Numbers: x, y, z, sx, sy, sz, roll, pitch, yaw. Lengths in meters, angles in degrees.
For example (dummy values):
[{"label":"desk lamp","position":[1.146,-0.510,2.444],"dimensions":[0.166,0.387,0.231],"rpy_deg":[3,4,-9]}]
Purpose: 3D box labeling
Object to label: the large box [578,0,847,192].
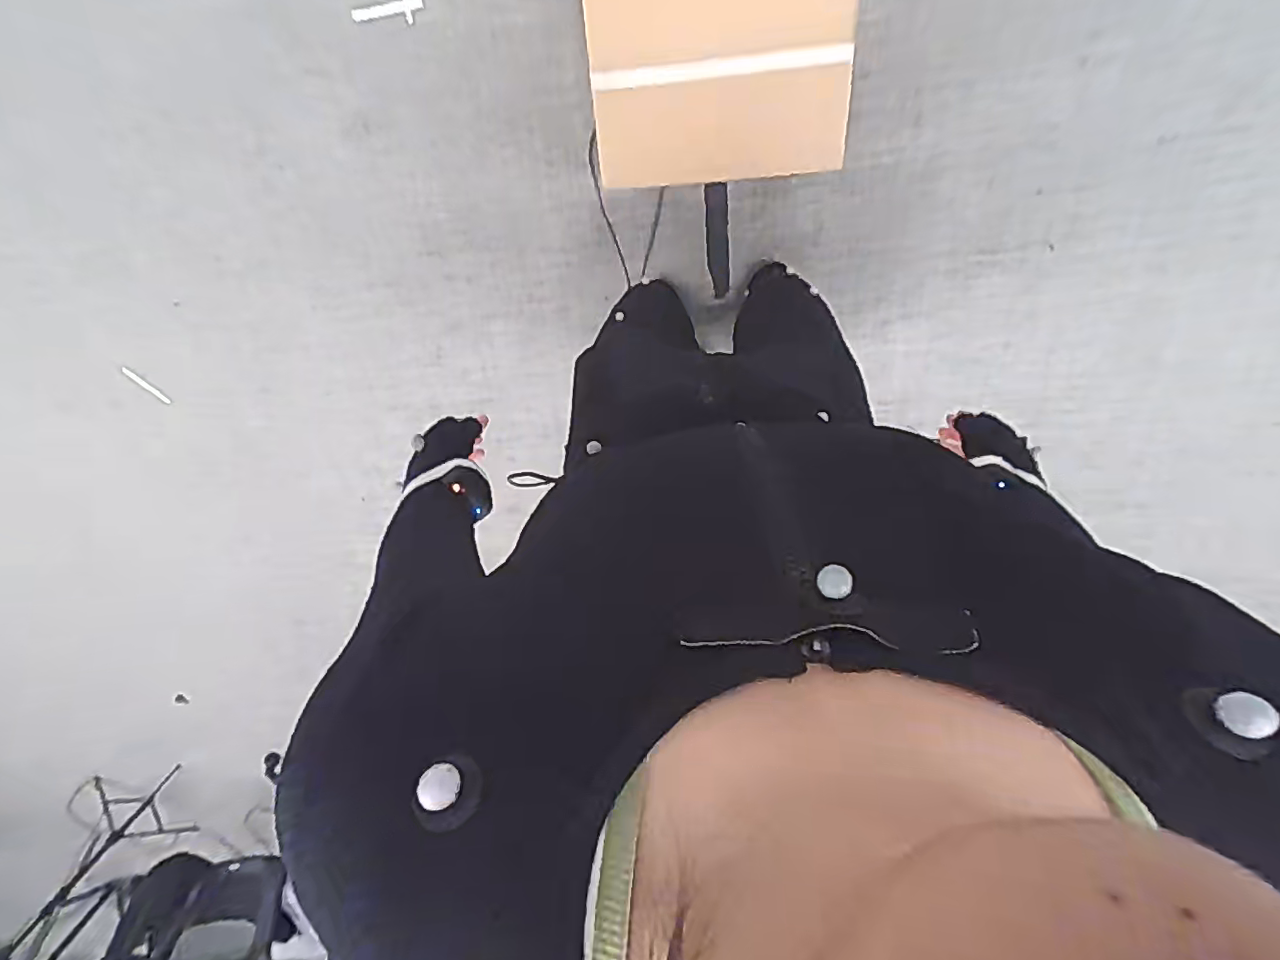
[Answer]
[{"label":"large box","position":[0.124,-0.722,0.971],"dimensions":[0.408,0.320,0.320],"rpy_deg":[-2,121,6]}]
